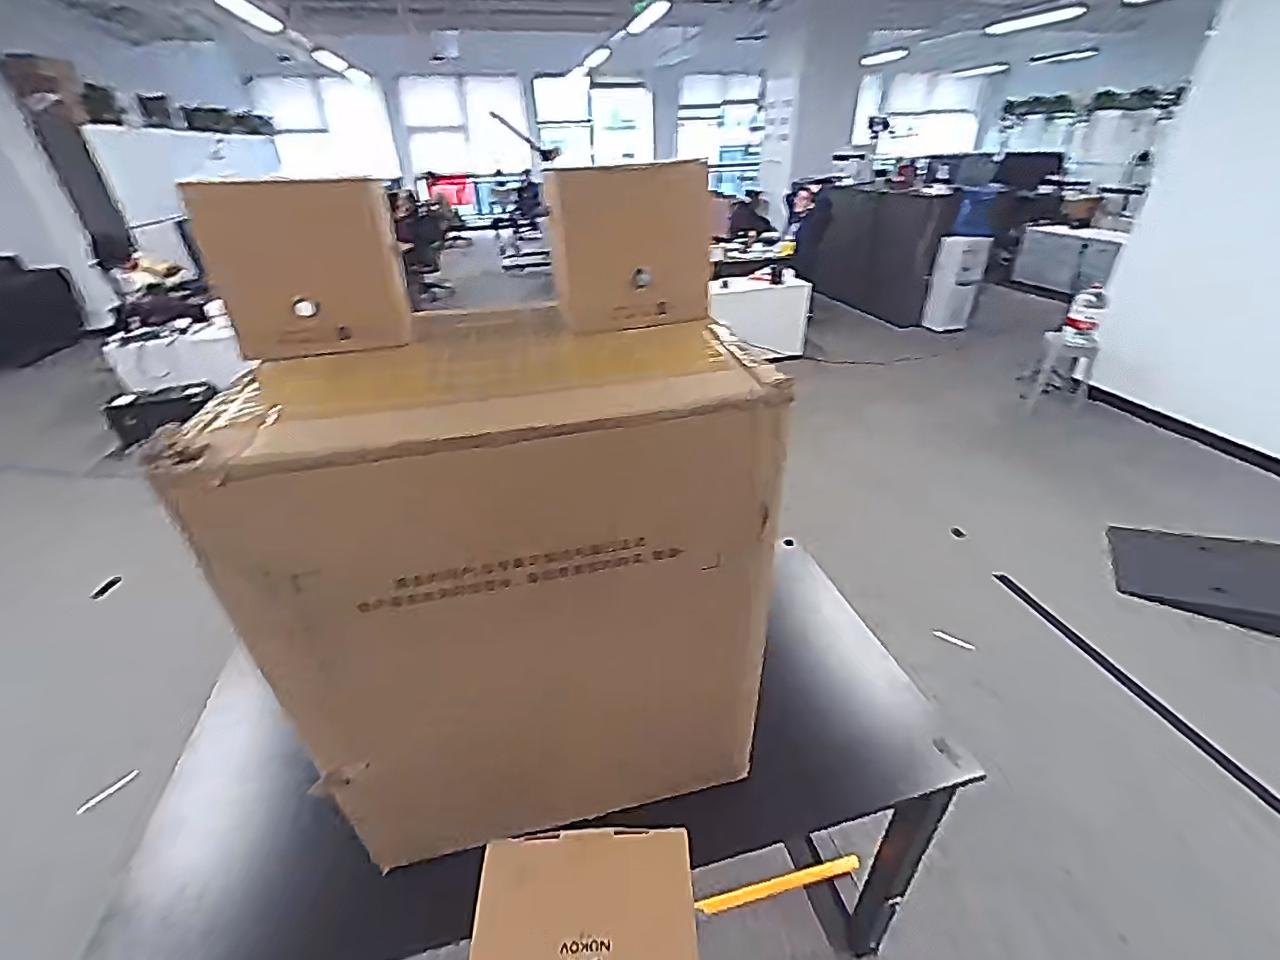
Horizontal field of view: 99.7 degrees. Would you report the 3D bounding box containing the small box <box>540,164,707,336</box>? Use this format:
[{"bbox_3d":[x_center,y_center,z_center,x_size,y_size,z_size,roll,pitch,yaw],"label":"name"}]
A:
[{"bbox_3d":[-0.025,-0.284,0.663,0.168,0.176,0.179,-11,31,-11],"label":"small box"}]

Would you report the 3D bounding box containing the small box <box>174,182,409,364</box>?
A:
[{"bbox_3d":[-0.368,-0.240,0.613,0.168,0.176,0.179,-11,32,-17],"label":"small box"}]

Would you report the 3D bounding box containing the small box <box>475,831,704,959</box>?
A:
[{"bbox_3d":[-0.035,0.408,0.426,0.168,0.176,0.179,-2,38,-1],"label":"small box"}]
